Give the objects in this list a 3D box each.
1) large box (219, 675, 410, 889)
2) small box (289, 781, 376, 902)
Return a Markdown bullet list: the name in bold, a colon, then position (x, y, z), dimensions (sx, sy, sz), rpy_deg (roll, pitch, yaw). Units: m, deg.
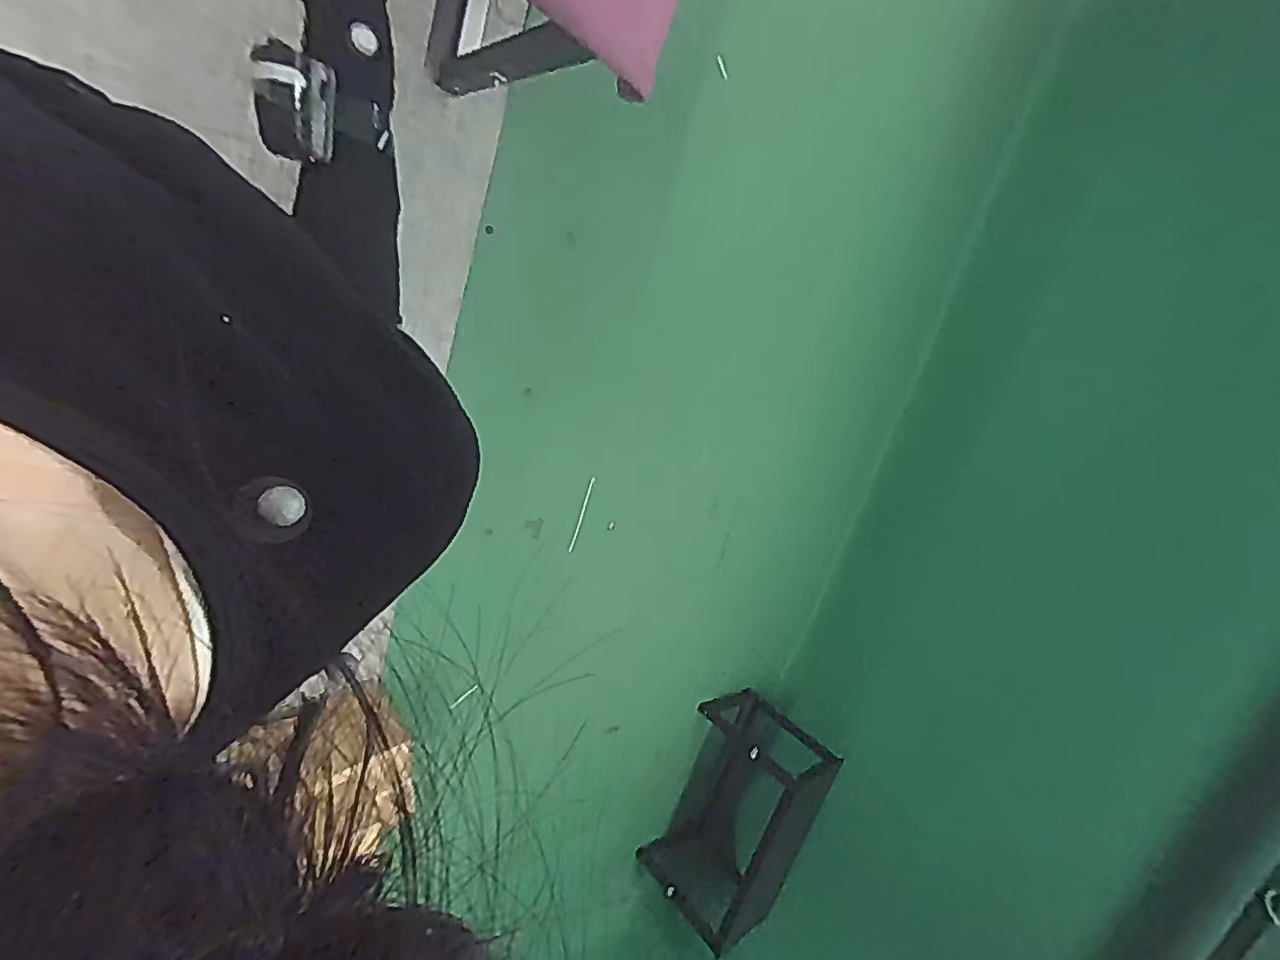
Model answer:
- **large box**: position (-0.951, 0.861, 1.601), dimensions (0.408, 0.320, 0.320), rpy_deg (-14, 122, -41)
- **small box**: position (-0.803, 0.926, 1.410), dimensions (0.168, 0.176, 0.179), rpy_deg (-6, 115, -42)
